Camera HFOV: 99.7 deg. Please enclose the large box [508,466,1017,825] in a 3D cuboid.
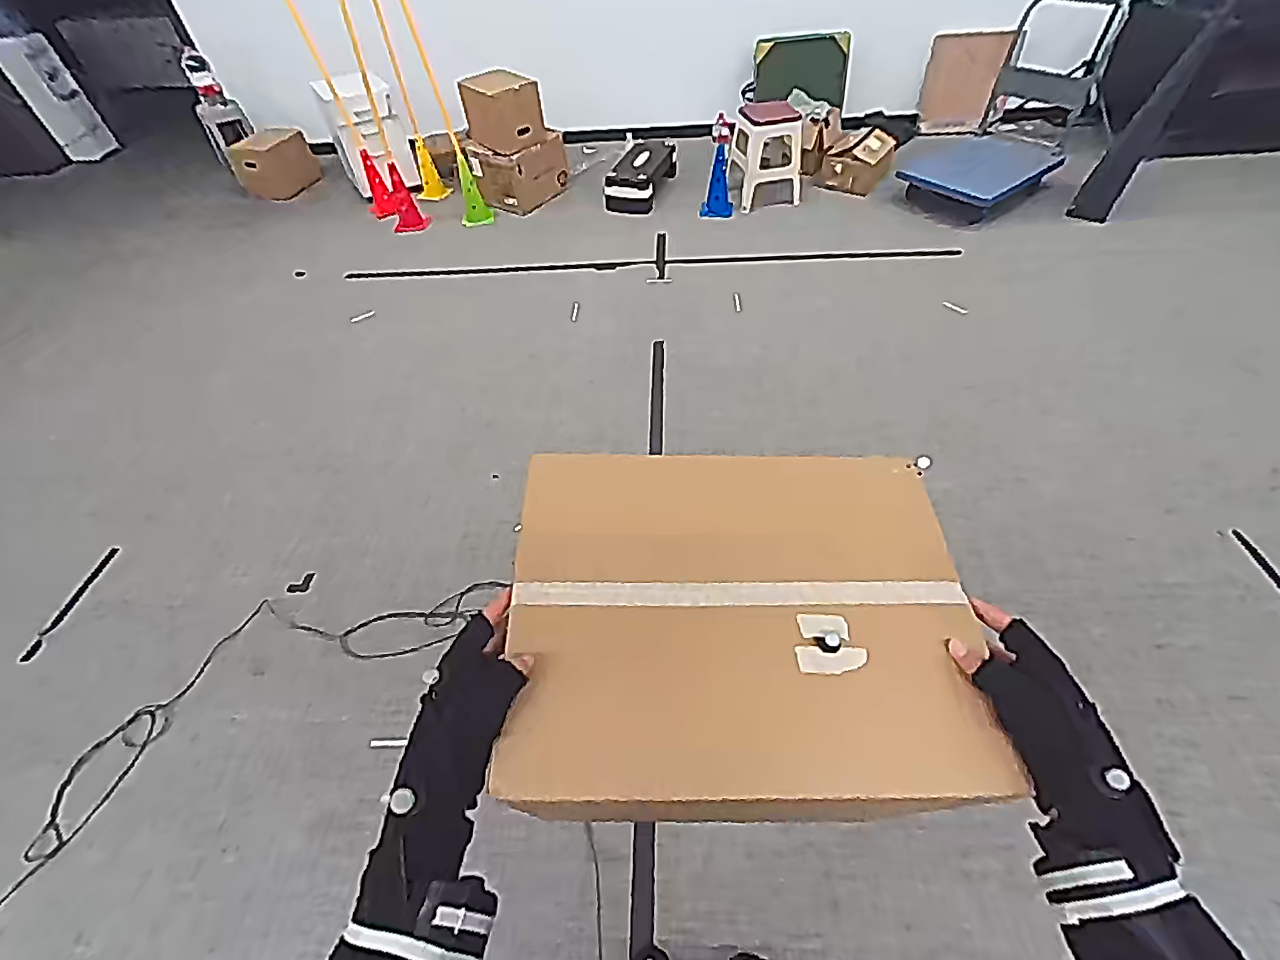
[{"bbox_3d":[0.086,0.196,0.616,0.408,0.320,0.320,0,56,-2],"label":"large box"}]
